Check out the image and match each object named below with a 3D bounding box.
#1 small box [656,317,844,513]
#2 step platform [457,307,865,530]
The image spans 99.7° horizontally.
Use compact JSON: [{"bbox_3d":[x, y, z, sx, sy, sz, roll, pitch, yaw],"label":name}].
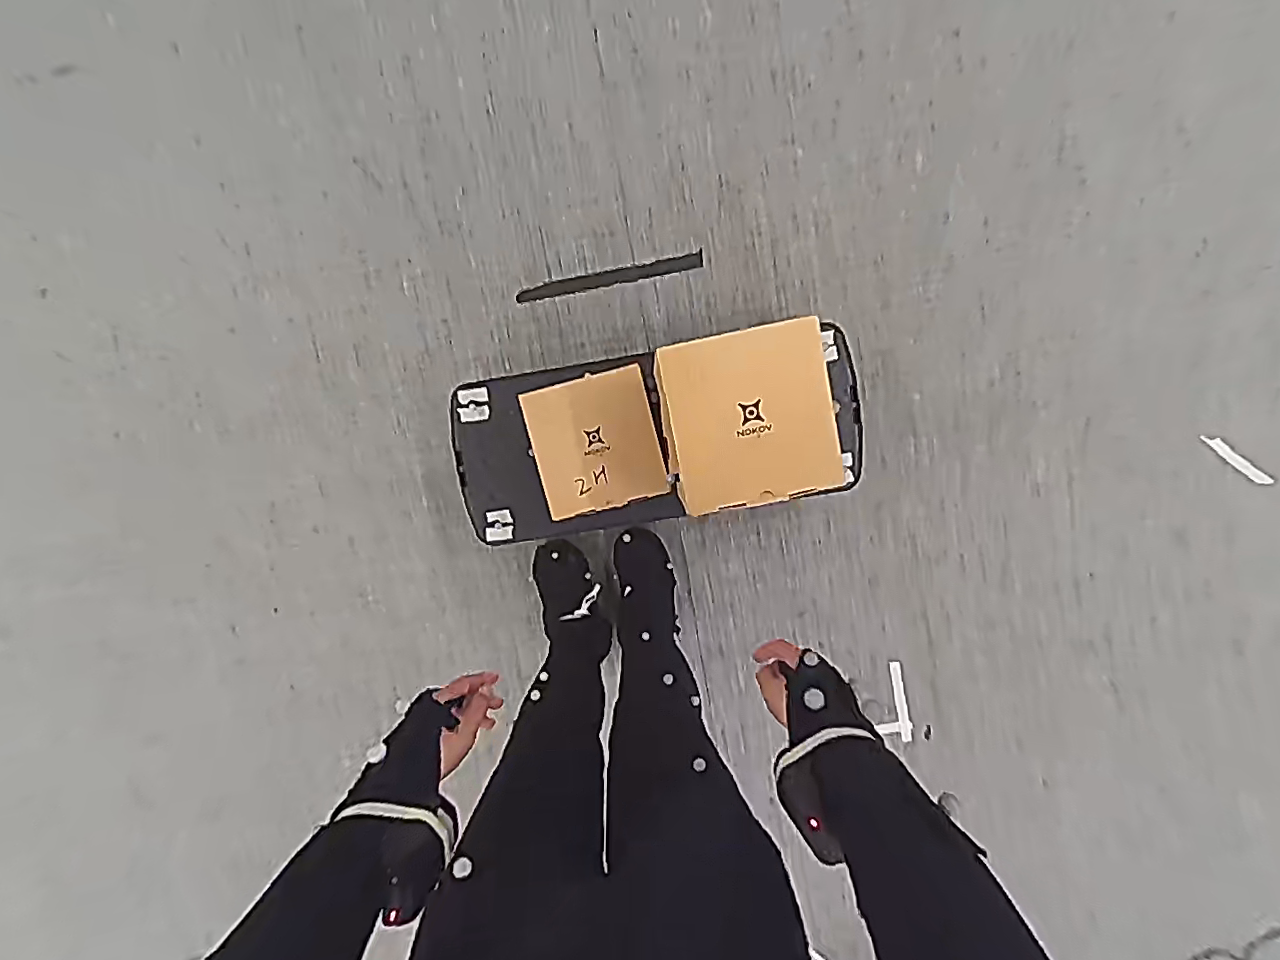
[{"bbox_3d":[0.114,-0.071,0.628,0.168,0.176,0.179,-12,96,2],"label":"small box"},{"bbox_3d":[0.035,-0.103,0.964,0.684,0.204,0.286,-10,95,3],"label":"step platform"}]
